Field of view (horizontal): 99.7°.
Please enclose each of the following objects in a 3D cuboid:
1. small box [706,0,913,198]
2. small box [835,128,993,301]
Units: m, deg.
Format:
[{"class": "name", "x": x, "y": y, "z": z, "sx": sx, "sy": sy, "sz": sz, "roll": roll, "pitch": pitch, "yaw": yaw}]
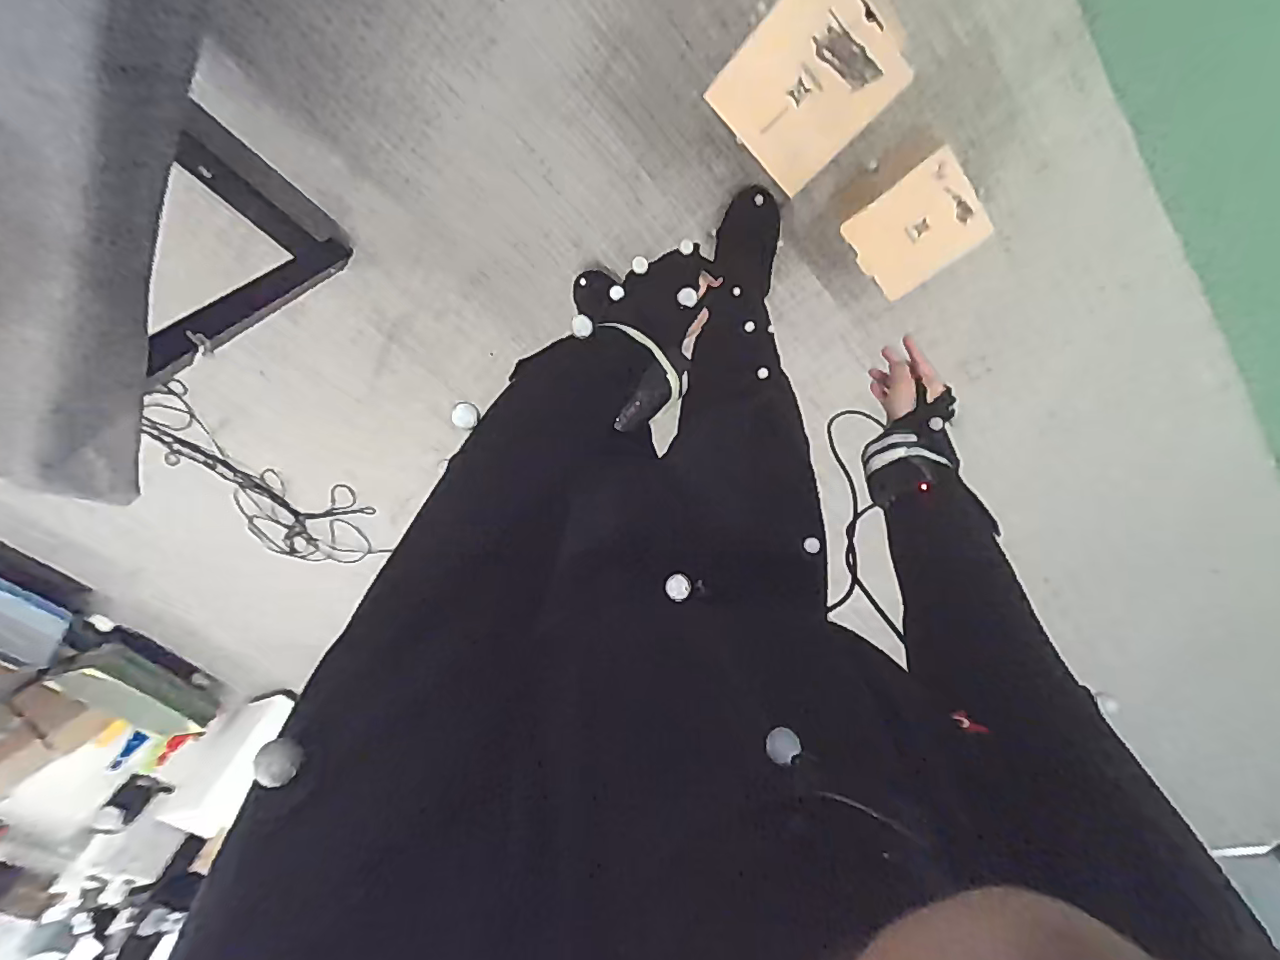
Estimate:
[{"class": "small box", "x": 0.203, "y": -0.504, "z": 0.682, "sx": 0.168, "sy": 0.176, "sz": 0.179, "roll": 38, "pitch": 128, "yaw": -19}, {"class": "small box", "x": 0.443, "y": -0.442, "z": 0.902, "sx": 0.179, "sy": 0.176, "sz": 0.168, "roll": -31, "pitch": 119, "yaw": 34}]
